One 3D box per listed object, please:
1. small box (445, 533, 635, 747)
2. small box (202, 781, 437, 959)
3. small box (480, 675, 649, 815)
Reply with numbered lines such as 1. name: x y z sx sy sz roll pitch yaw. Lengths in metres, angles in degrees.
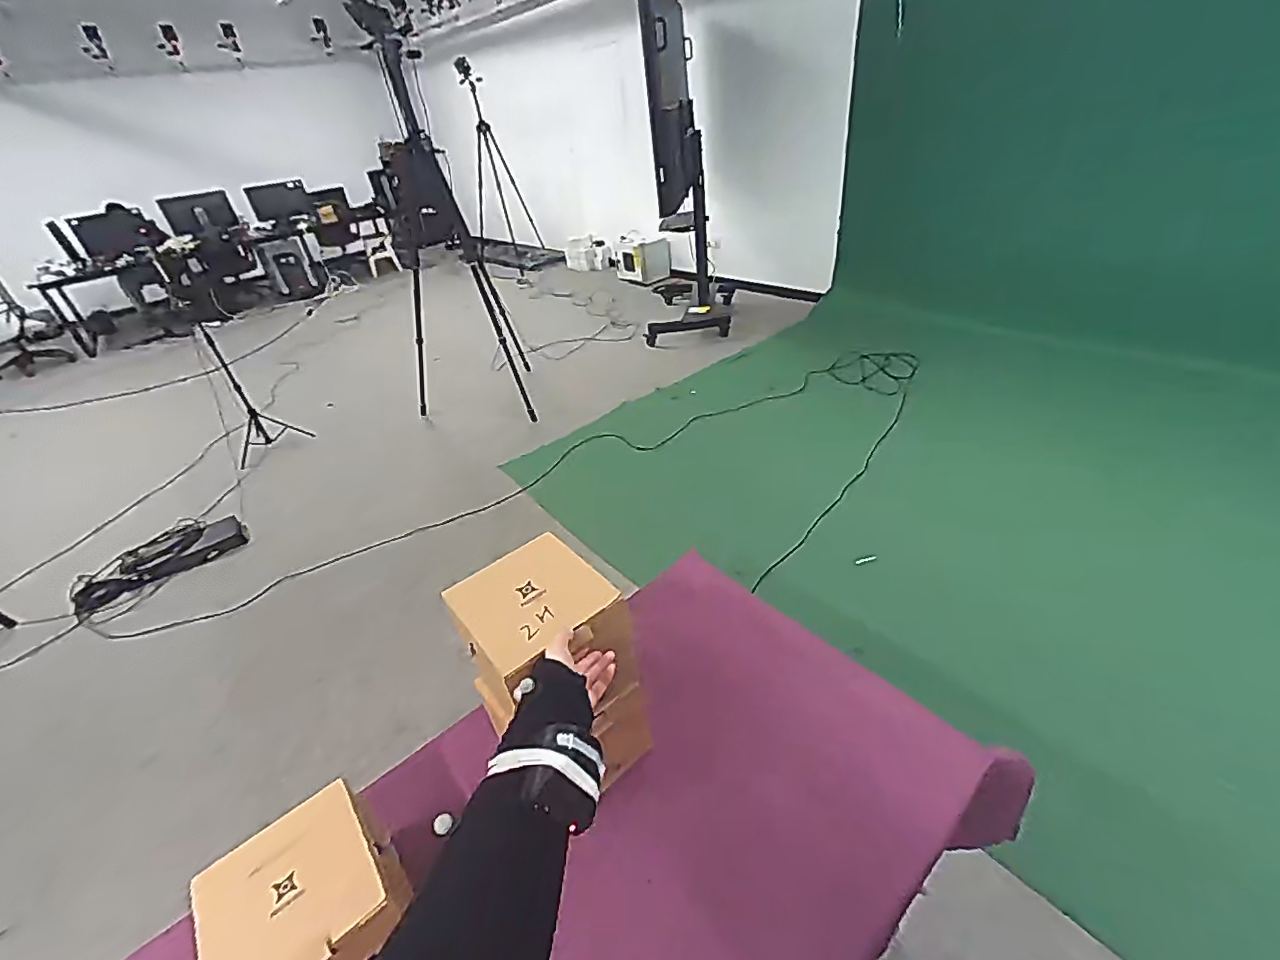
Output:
1. small box: -0.126 0.207 0.716 0.168 0.176 0.179 -31 42 -28
2. small box: -0.363 0.509 0.630 0.168 0.176 0.179 -30 40 -29
3. small box: -0.106 0.346 0.803 0.168 0.176 0.179 -33 42 -30
